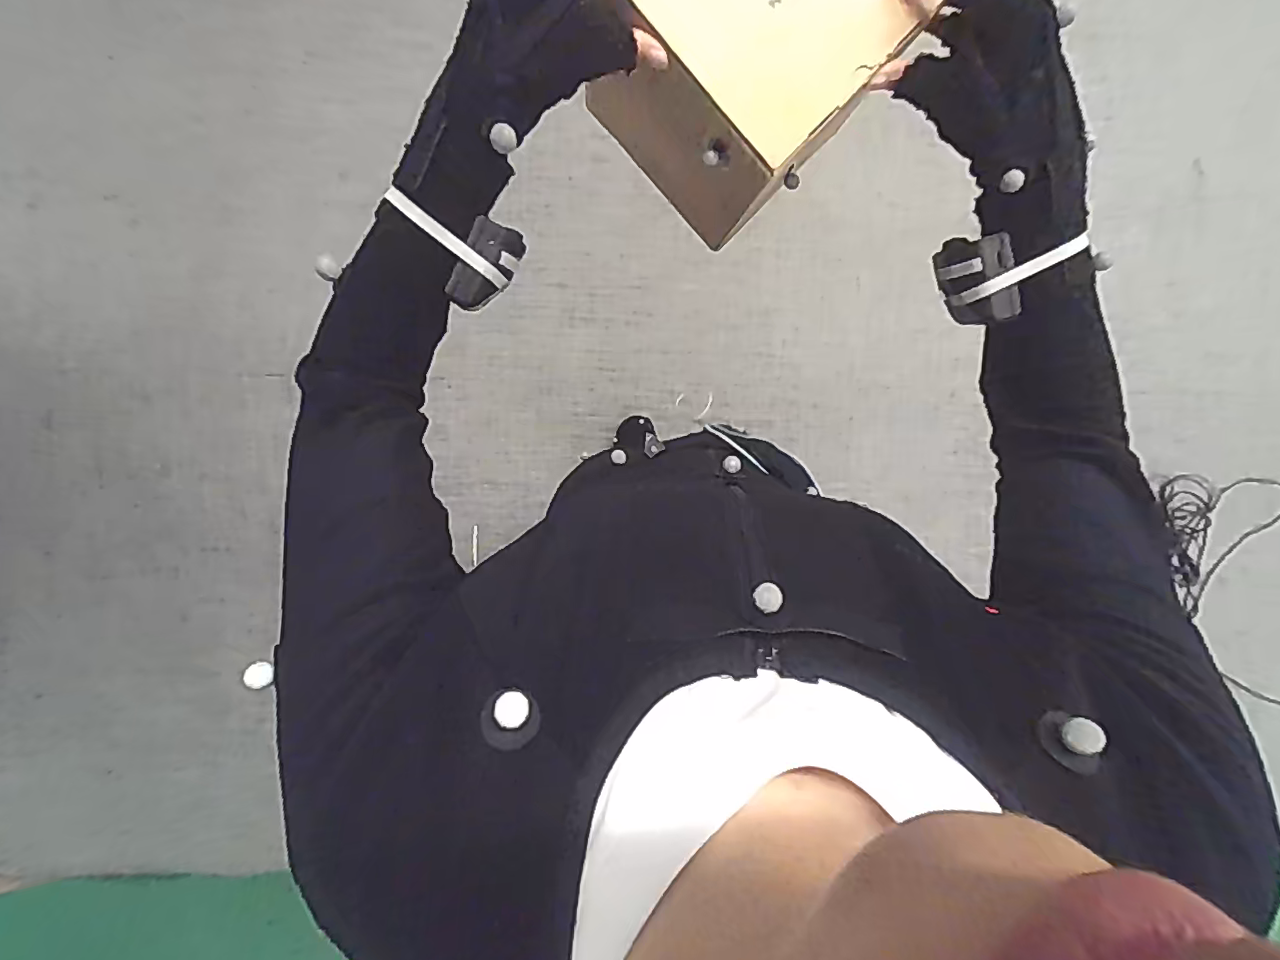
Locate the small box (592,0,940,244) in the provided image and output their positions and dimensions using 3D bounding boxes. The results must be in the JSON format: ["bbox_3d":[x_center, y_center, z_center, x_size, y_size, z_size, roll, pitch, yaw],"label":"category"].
[{"bbox_3d":[0.075,-0.323,0.423,0.168,0.176,0.179,-45,99,0],"label":"small box"}]
